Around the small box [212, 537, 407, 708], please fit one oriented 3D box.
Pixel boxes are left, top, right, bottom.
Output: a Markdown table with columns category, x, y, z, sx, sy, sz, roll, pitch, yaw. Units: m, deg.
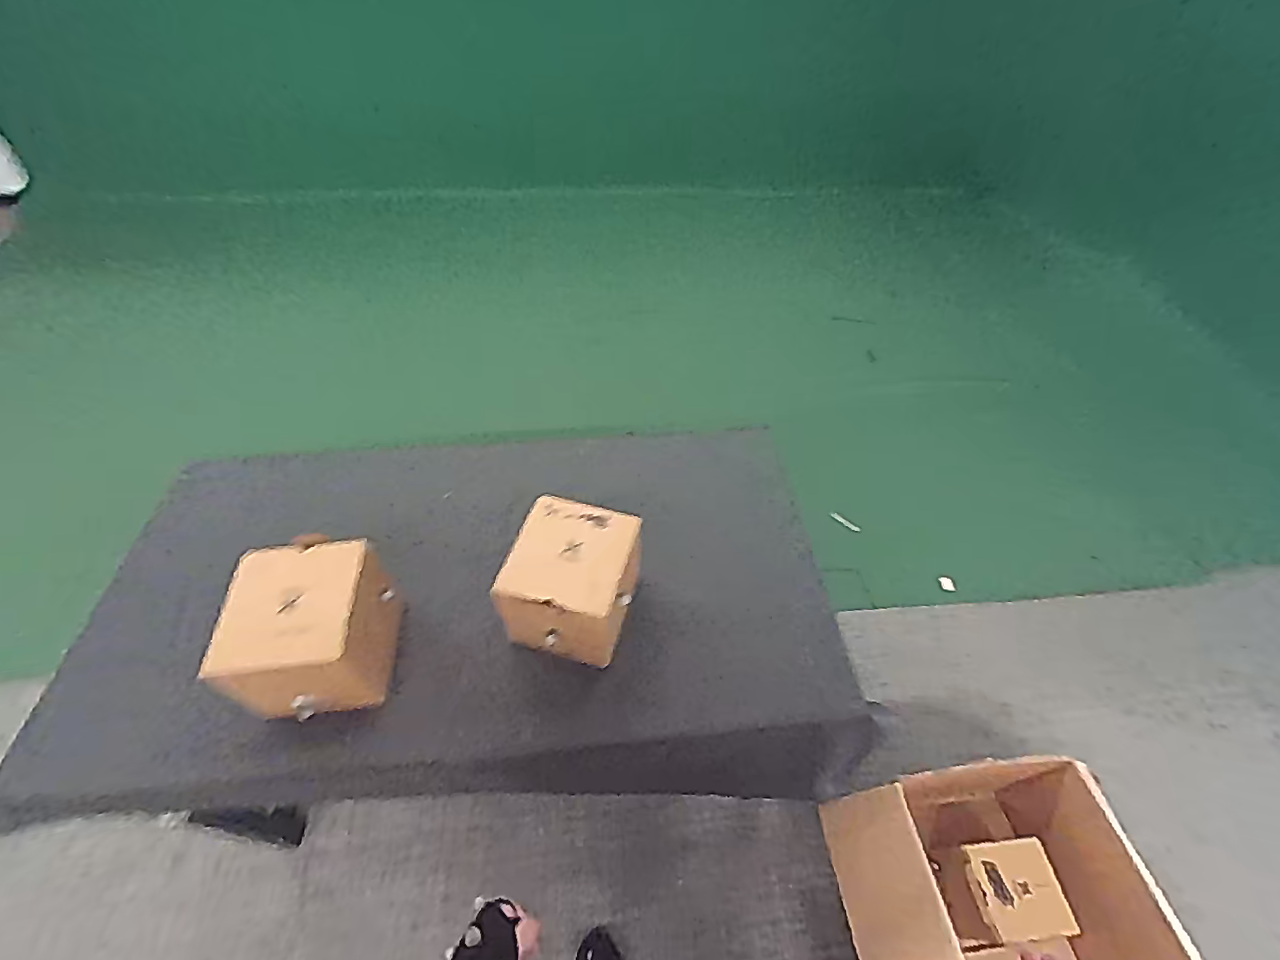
| category | x | y | z | sx | sy | sz | roll | pitch | yaw |
| --- | --- | --- | --- | --- | --- | --- | --- | --- | --- |
| small box | -0.449 | 0.204 | 0.775 | 0.168 | 0.176 | 0.179 | -5 | 50 | -5 |

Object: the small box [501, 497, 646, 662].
| category | x | y | z | sx | sy | sz | roll | pitch | yaw |
| --- | --- | --- | --- | --- | --- | --- | --- | --- | --- |
| small box | -0.091 | 0.159 | 0.844 | 0.168 | 0.176 | 0.179 | 14 | 51 | 10 |
